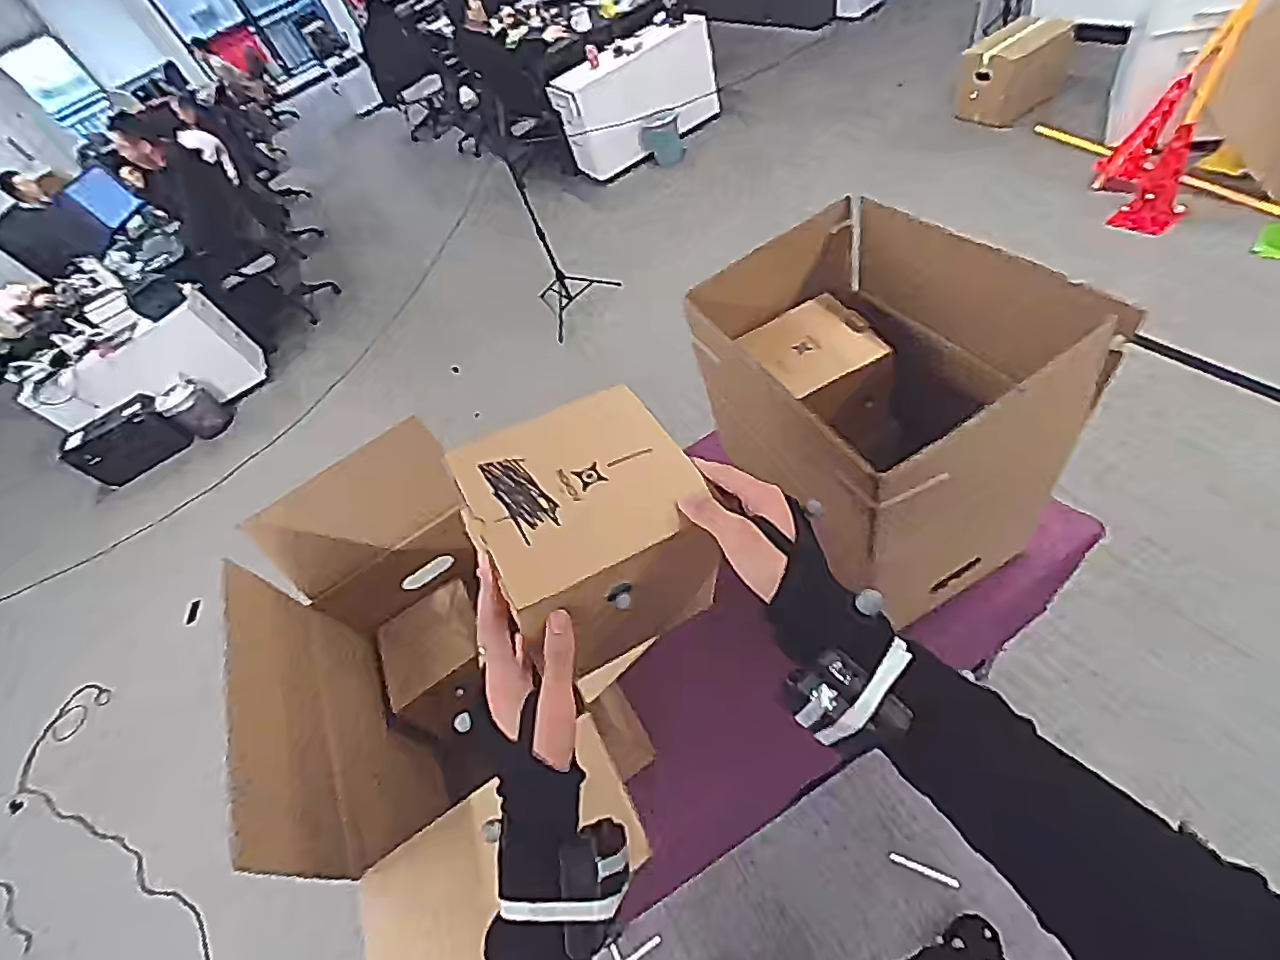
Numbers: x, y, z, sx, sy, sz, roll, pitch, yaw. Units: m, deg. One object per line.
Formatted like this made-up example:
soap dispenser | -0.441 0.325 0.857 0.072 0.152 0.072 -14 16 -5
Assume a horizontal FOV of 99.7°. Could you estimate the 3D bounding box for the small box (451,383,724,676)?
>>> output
small box | -0.044 0.048 0.495 0.179 0.176 0.168 -25 55 -18
